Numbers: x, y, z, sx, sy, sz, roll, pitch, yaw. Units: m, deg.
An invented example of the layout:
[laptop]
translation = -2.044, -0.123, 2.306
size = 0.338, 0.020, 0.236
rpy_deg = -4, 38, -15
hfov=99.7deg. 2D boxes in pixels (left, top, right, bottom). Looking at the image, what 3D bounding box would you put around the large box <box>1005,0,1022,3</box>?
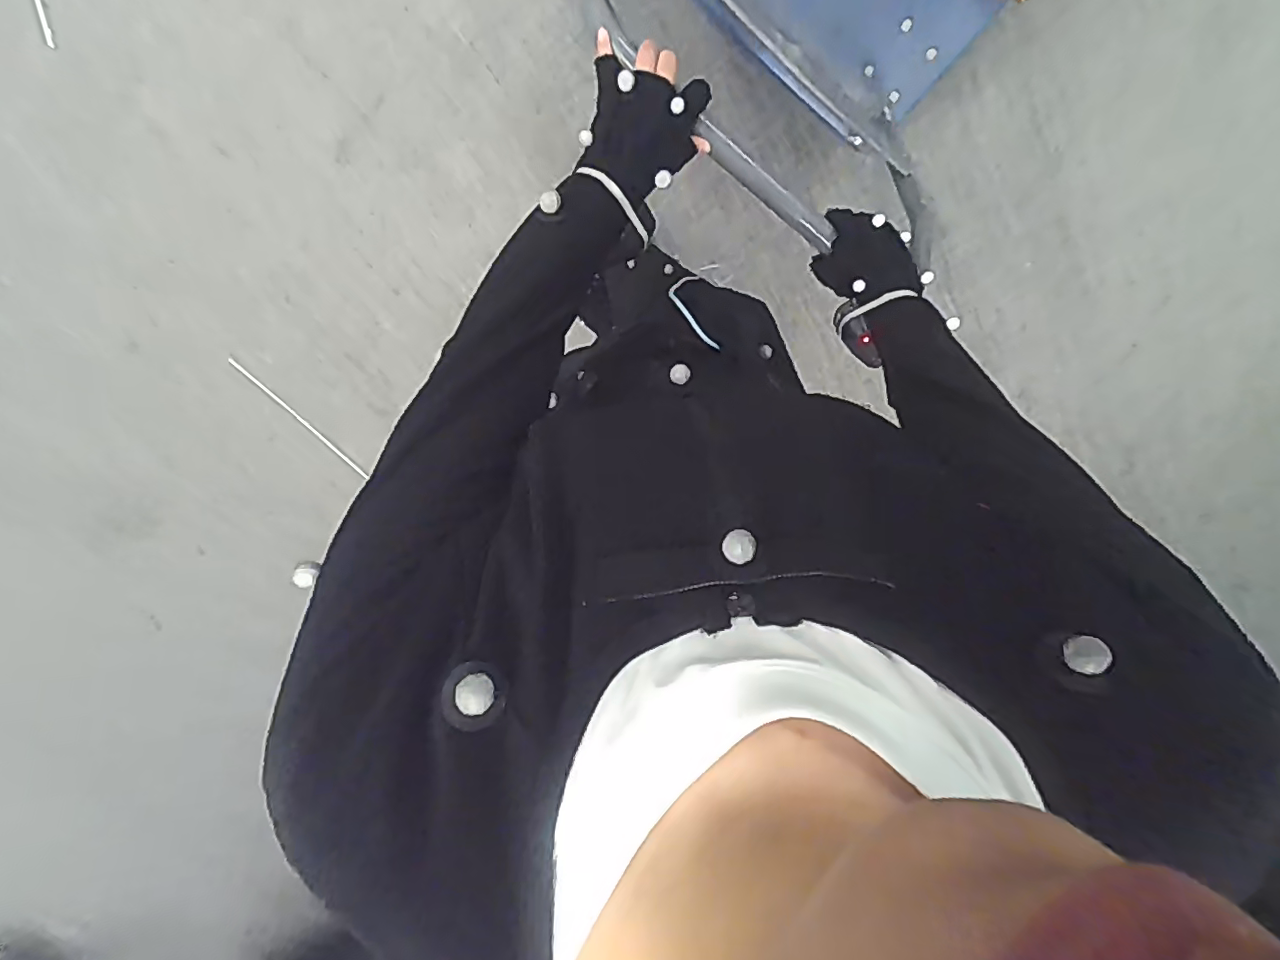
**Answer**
[large box]
translation = 0.486, -0.911, 0.654
size = 0.408, 0.320, 0.320
rpy_deg = 39, 130, -24
